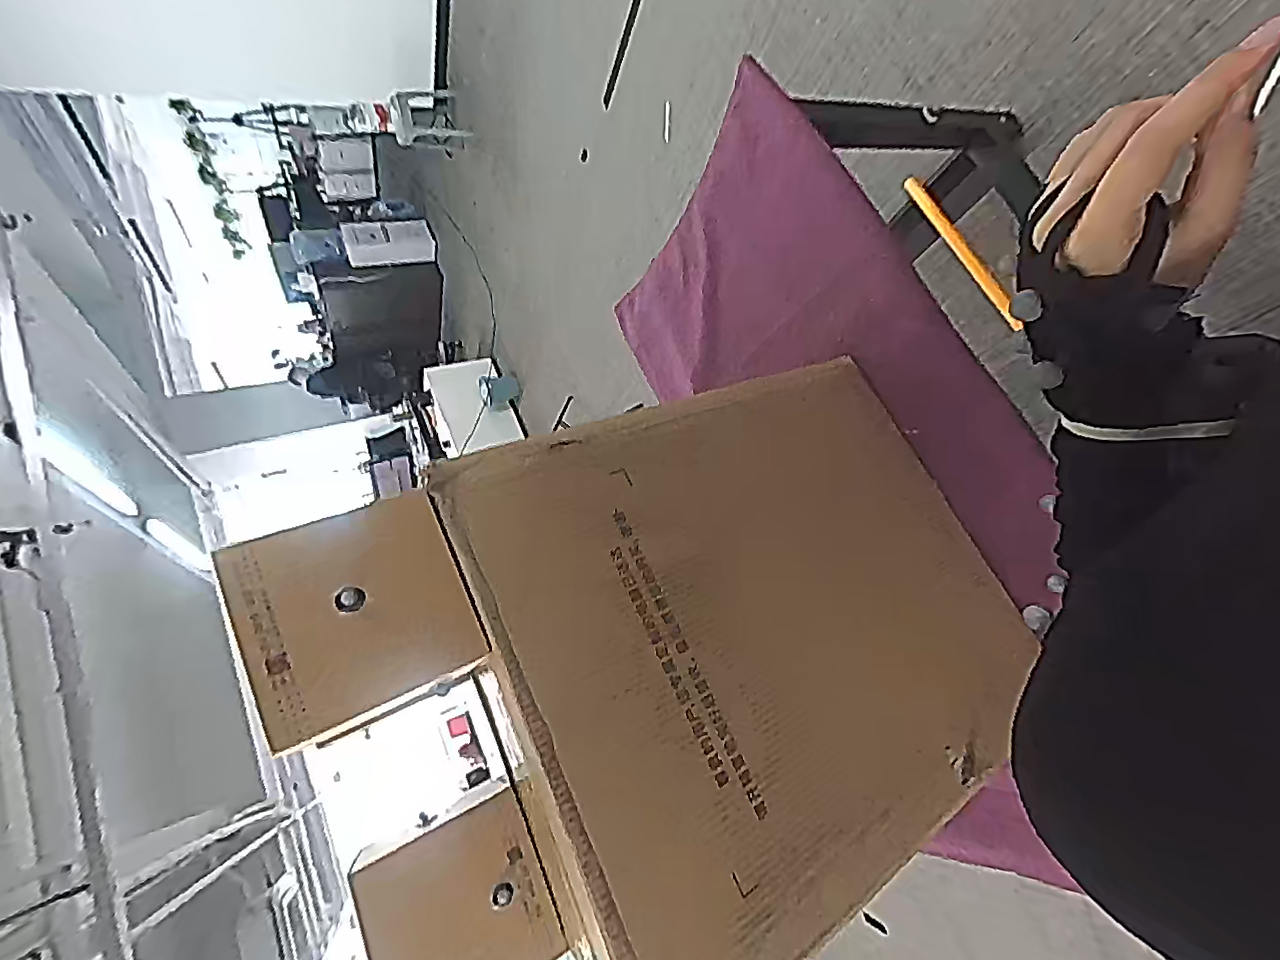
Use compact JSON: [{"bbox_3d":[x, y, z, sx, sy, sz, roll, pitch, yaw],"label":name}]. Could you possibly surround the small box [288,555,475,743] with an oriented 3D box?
[{"bbox_3d":[-0.325,0.217,0.703,0.168,0.176,0.179,64,151,12],"label":"small box"}]
